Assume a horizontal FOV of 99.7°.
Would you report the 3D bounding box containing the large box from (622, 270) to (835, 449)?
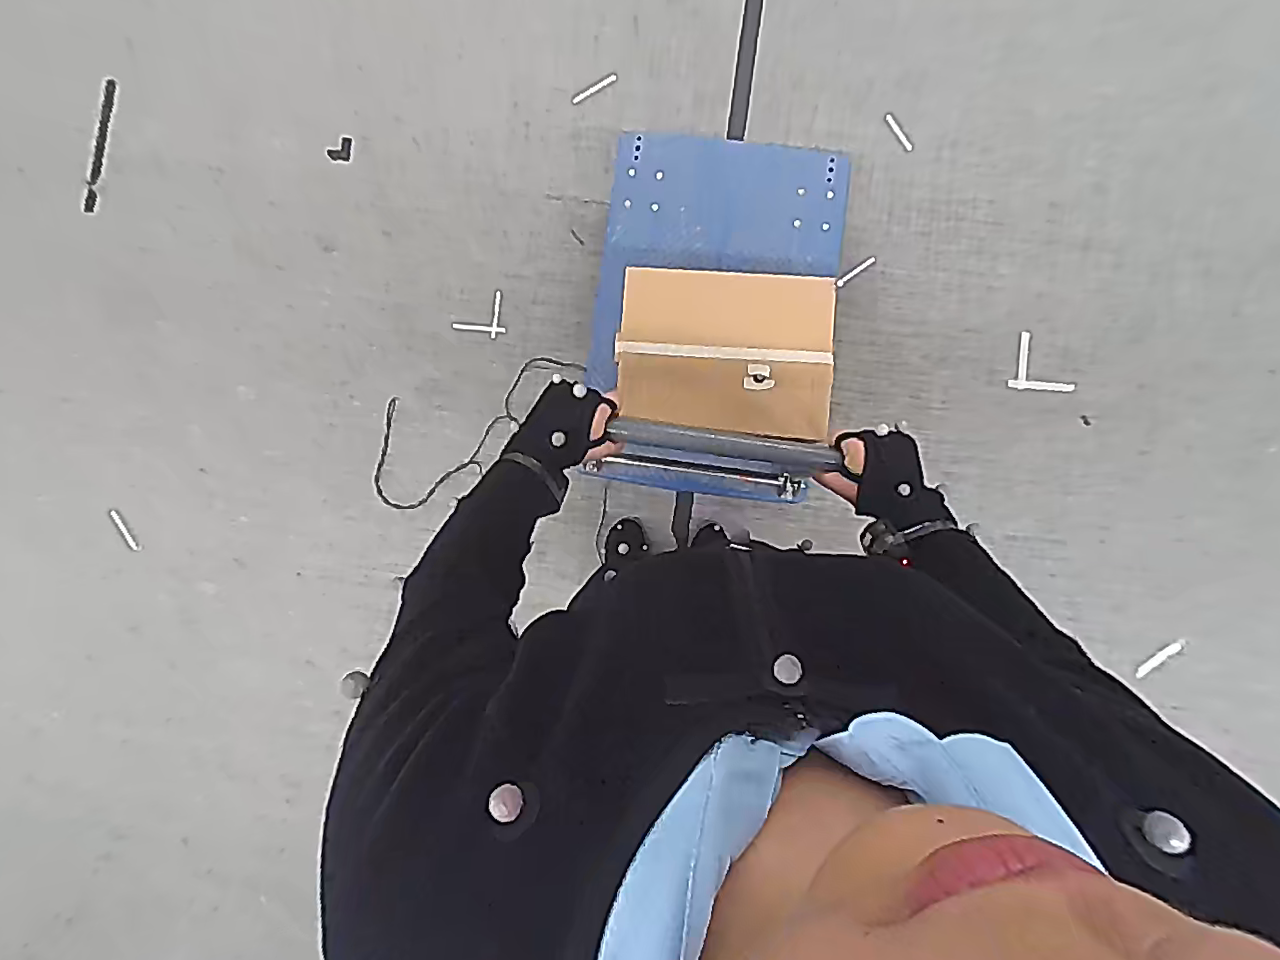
[{"bbox_3d":[0.172,-0.240,1.187,0.408,0.320,0.320,4,89,2],"label":"large box"}]
